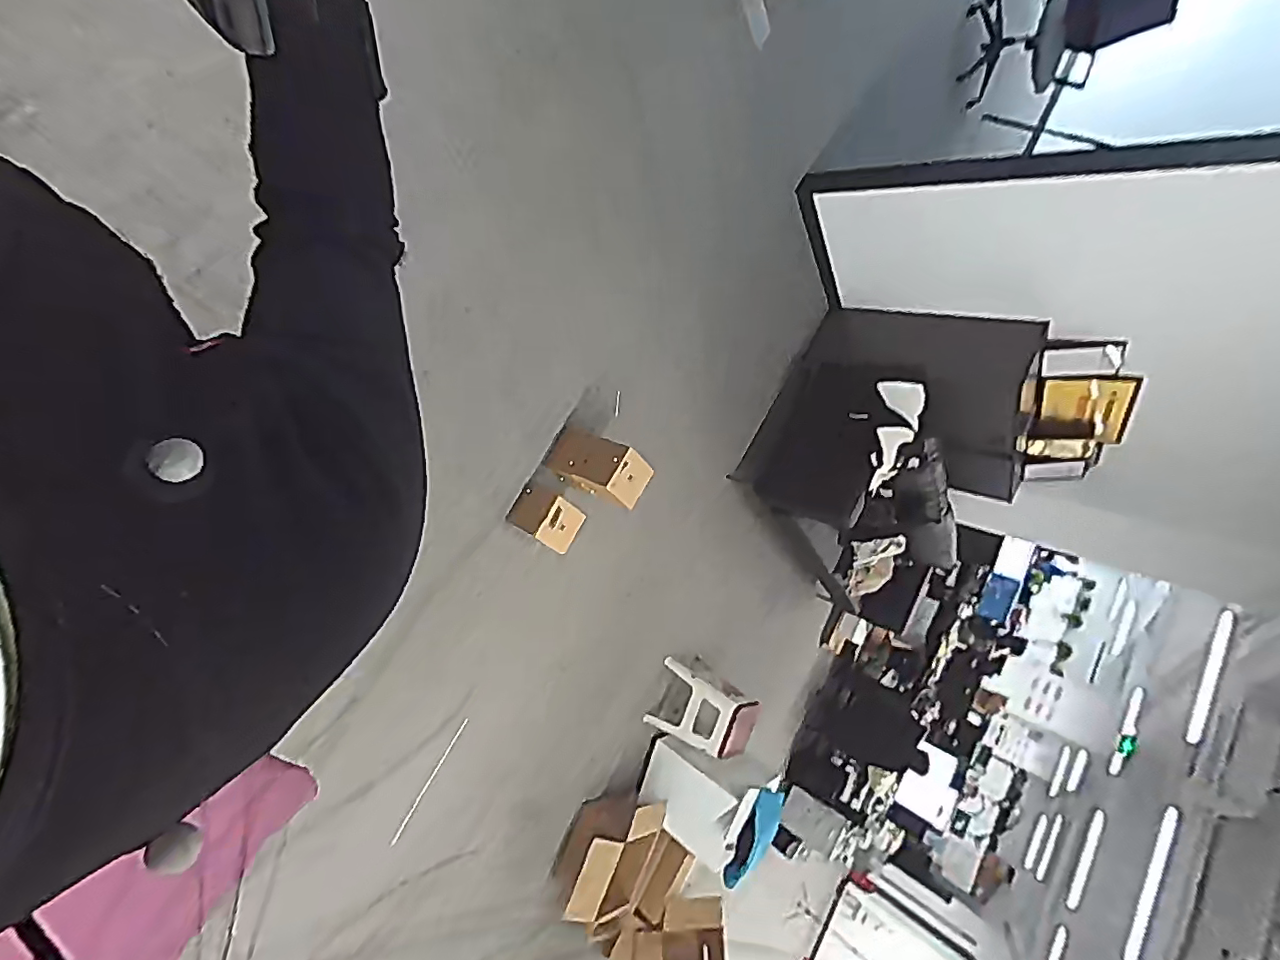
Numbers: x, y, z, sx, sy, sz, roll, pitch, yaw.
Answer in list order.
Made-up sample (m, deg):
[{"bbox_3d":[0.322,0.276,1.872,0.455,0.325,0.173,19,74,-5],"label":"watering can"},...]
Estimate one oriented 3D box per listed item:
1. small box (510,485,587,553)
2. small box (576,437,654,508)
[{"bbox_3d":[-0.329,0.132,1.928,0.168,0.176,0.179,-60,141,-12],"label":"small box"},{"bbox_3d":[-0.087,-0.030,1.883,0.168,0.176,0.179,-59,141,-13],"label":"small box"}]
